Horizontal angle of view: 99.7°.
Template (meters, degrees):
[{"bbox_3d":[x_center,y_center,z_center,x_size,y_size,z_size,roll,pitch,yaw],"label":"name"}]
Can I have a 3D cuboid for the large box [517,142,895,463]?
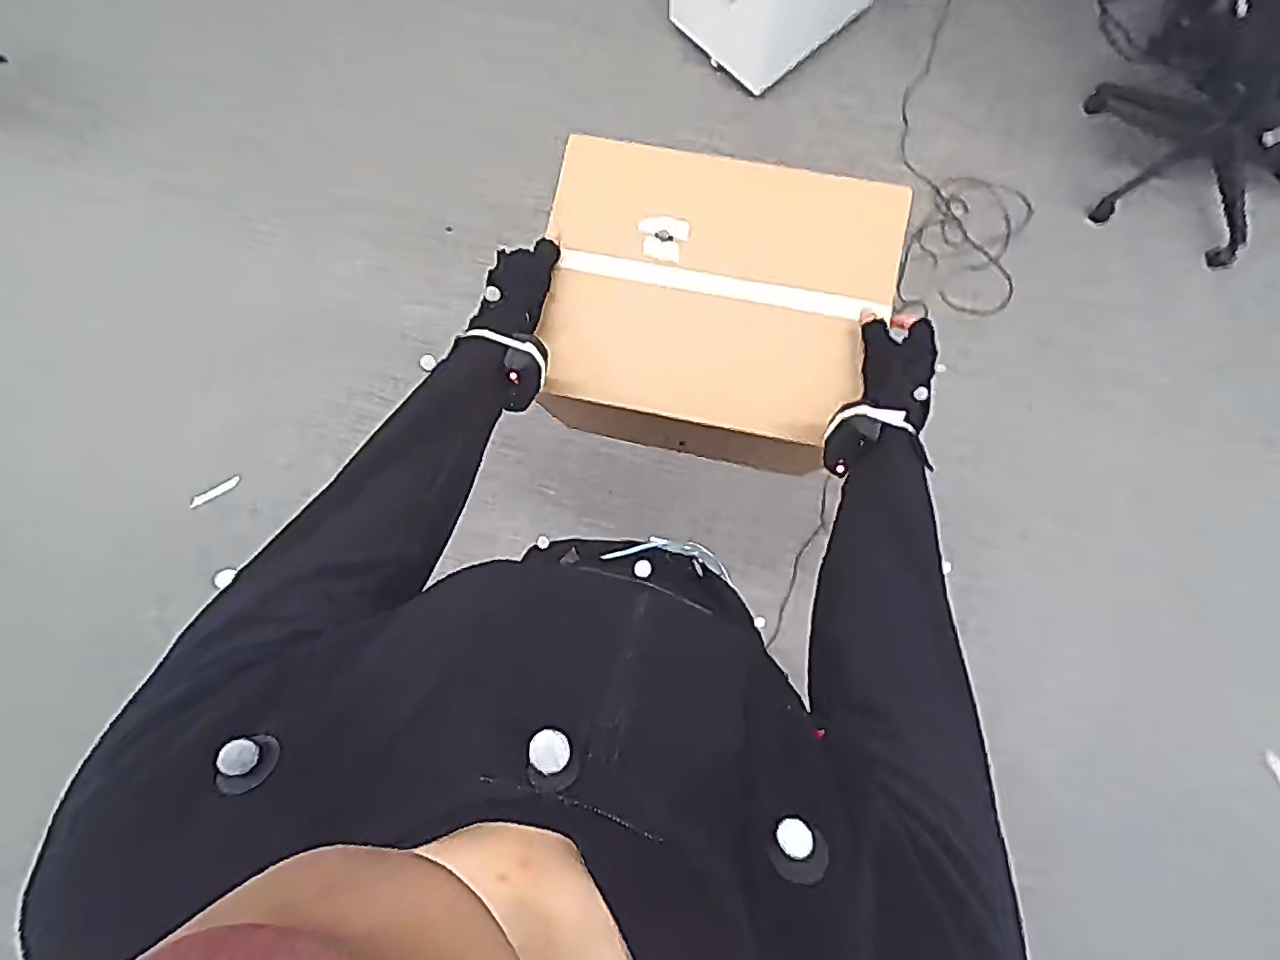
[{"bbox_3d":[0.087,-0.217,0.779,0.408,0.320,0.320,11,86,5],"label":"large box"}]
